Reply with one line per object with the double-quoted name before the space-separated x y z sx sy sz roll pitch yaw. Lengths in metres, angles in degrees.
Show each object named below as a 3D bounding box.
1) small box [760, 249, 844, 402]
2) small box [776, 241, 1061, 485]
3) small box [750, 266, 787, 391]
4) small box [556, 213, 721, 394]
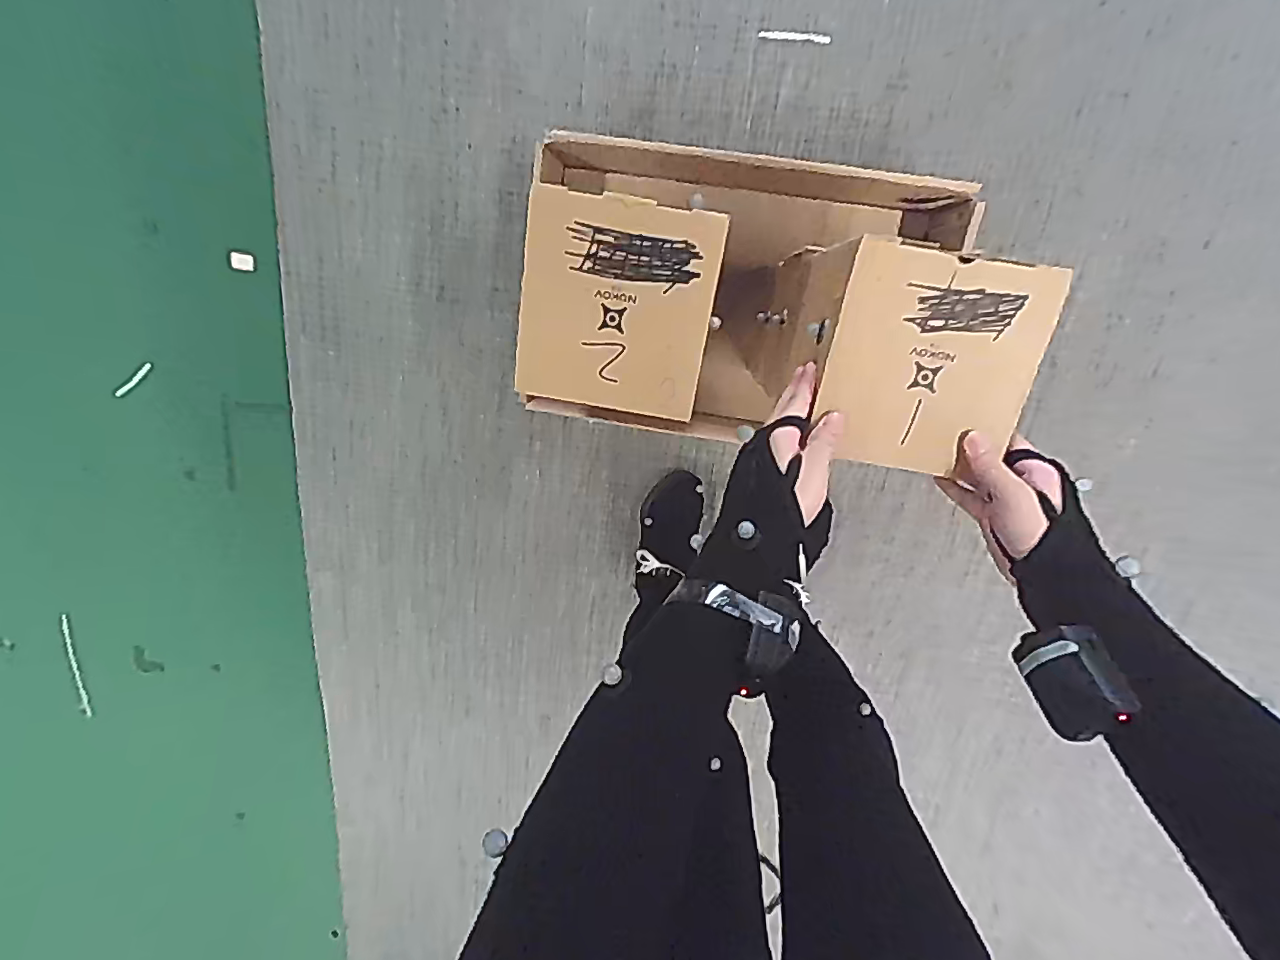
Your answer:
"small box" 0.258 -0.185 0.699 0.168 0.176 0.179 11 109 3
"small box" 0.241 -0.115 0.524 0.168 0.176 0.179 11 108 0
"small box" 0.274 -0.232 0.854 0.168 0.176 0.179 8 109 2
"small box" 0.000 -0.225 0.704 0.168 0.176 0.179 13 108 1
